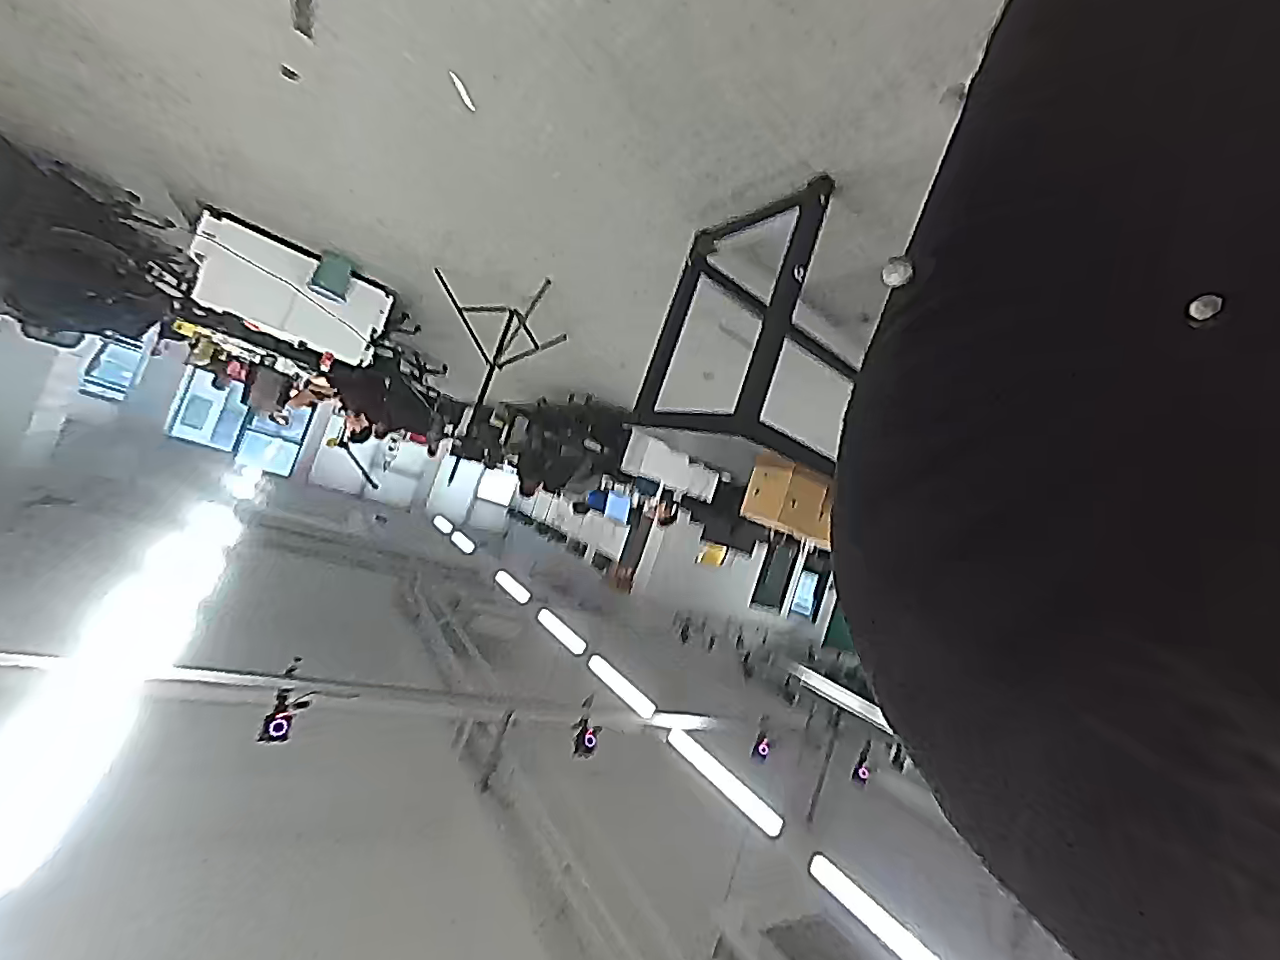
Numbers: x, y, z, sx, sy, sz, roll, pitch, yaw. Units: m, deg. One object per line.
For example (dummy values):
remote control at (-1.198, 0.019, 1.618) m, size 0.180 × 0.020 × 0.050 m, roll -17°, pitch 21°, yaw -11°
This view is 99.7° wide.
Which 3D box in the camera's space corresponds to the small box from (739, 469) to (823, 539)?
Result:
small box at (0.451, 0.071, 1.724) m, size 0.179 × 0.176 × 0.168 m, roll 20°, pitch 178°, yaw -33°

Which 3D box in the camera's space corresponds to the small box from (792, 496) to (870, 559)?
small box at (0.663, 0.158, 1.874) m, size 0.179 × 0.176 × 0.168 m, roll 21°, pitch 176°, yaw -34°
